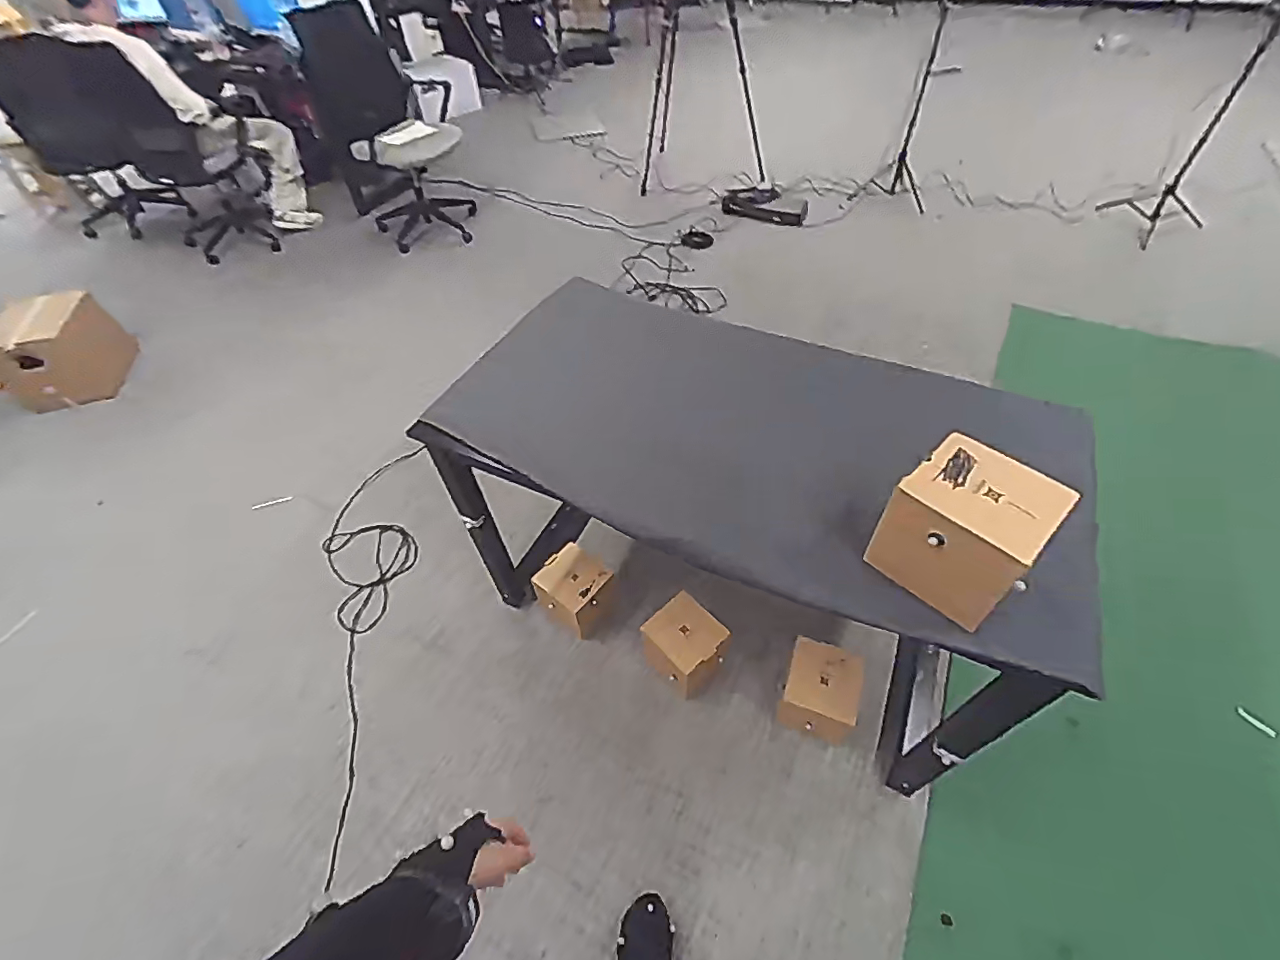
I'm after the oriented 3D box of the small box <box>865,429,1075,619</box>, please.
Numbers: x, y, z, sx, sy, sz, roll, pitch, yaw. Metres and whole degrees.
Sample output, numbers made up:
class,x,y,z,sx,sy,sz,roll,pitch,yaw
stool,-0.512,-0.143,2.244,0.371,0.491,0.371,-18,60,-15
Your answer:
class,x,y,z,sx,sy,sz,roll,pitch,yaw
small box,0.456,0.064,0.775,0.168,0.176,0.179,-35,55,-26

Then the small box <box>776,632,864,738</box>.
class,x,y,z,sx,sy,sz,roll,pitch,yaw
small box,0.444,0.516,1.353,0.168,0.176,0.179,15,52,15

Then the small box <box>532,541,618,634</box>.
class,x,y,z,sx,sy,sz,roll,pitch,yaw
small box,-0.184,0.316,1.570,0.179,0.176,0.168,30,58,27

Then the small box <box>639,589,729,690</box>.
class,x,y,z,sx,sy,sz,roll,pitch,yaw
small box,0.119,0.433,1.448,0.168,0.176,0.179,-36,55,-25
